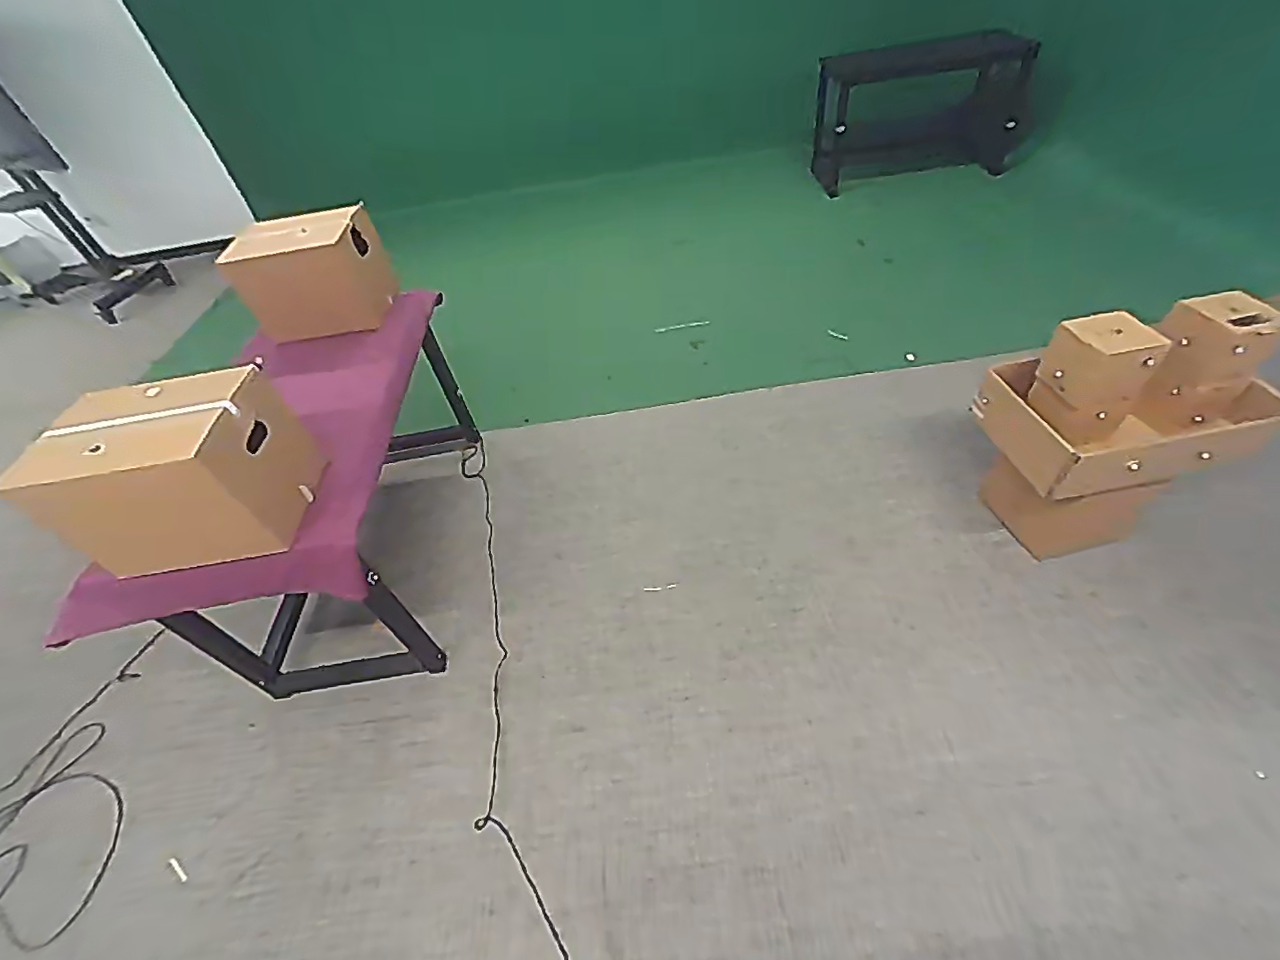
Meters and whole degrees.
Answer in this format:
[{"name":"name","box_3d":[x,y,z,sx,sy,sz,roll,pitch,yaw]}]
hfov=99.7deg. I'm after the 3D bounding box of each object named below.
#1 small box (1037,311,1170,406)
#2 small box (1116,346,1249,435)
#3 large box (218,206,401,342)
[{"name":"small box","box_3d":[1.209,-0.318,1.430,0.179,0.176,0.168,-10,46,-1]},{"name":"small box","box_3d":[1.539,-0.256,1.552,0.168,0.176,0.179,-13,47,-4]},{"name":"large box","box_3d":[-1.129,-0.720,1.903,0.408,0.320,0.320,-8,48,2]}]
